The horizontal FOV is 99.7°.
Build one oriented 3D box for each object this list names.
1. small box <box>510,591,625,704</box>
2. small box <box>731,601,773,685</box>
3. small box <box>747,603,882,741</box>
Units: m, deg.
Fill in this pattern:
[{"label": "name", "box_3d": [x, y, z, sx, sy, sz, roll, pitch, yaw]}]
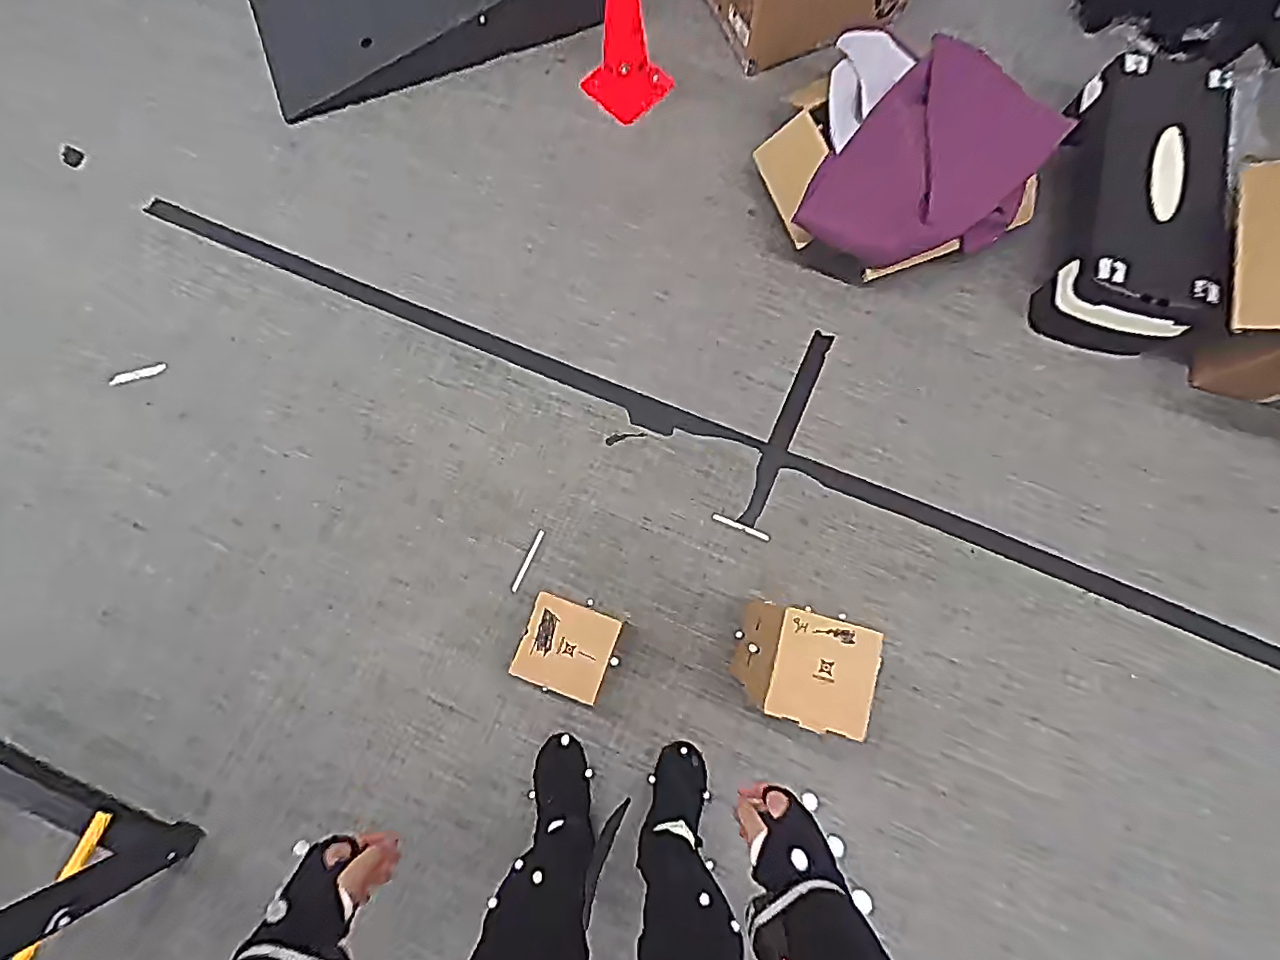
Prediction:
[{"label": "small box", "box_3d": [-0.141, 0.337, 1.116, 0.179, 0.176, 0.168, 20, 79, 4]}, {"label": "small box", "box_3d": [0.301, 0.351, 1.112, 0.179, 0.176, 0.168, 17, 79, 4]}, {"label": "small box", "box_3d": [0.296, 0.325, 0.951, 0.168, 0.176, 0.179, 16, 80, 3]}]
